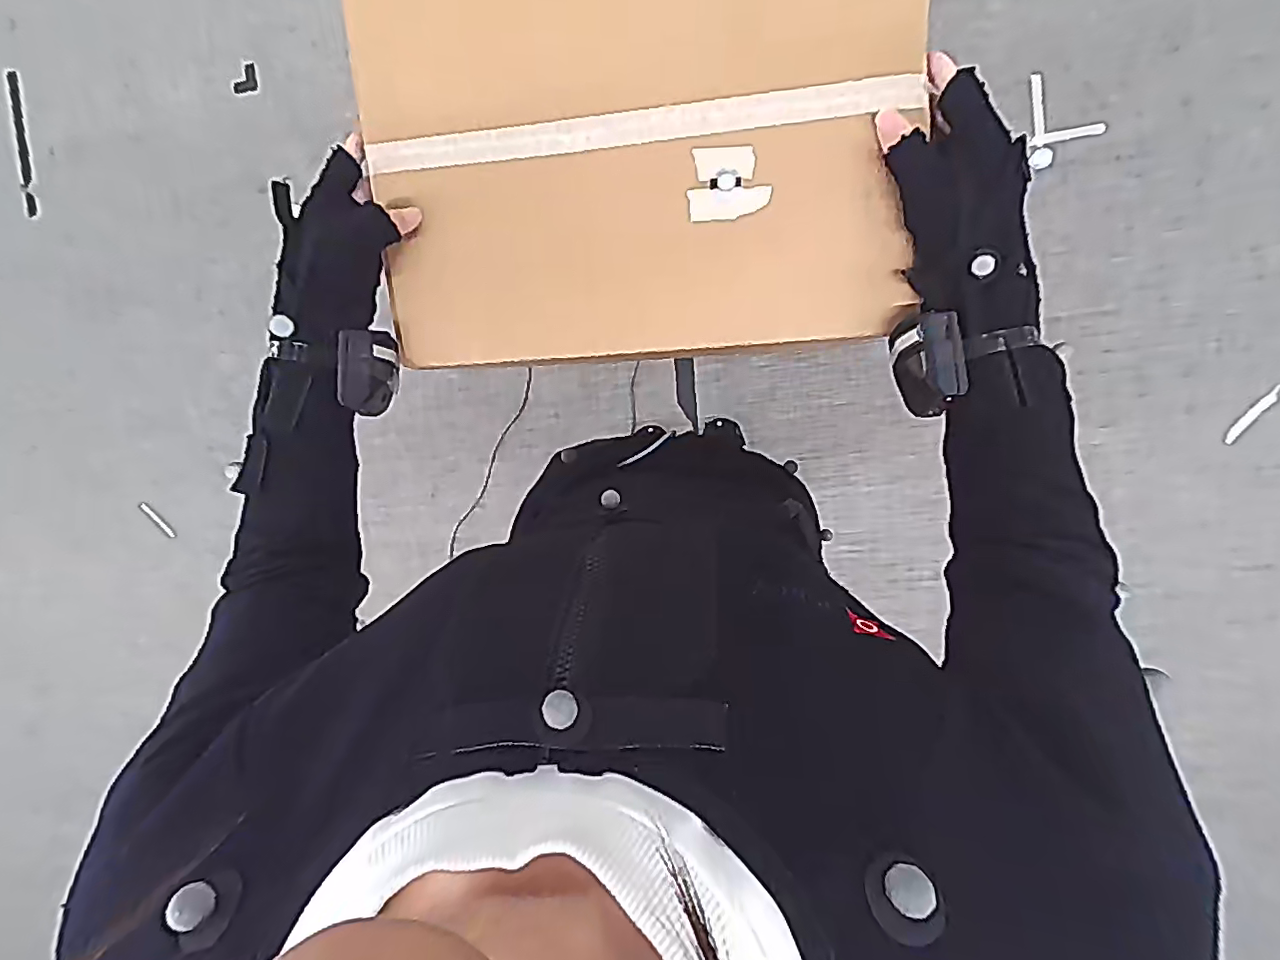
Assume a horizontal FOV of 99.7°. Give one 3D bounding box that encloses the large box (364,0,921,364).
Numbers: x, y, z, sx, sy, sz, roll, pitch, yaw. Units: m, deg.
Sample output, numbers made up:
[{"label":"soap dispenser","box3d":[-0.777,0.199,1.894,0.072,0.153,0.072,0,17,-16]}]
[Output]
[{"label":"large box","box3d":[0.013,-0.291,0.547,0.408,0.320,0.320,-3,102,7]}]
